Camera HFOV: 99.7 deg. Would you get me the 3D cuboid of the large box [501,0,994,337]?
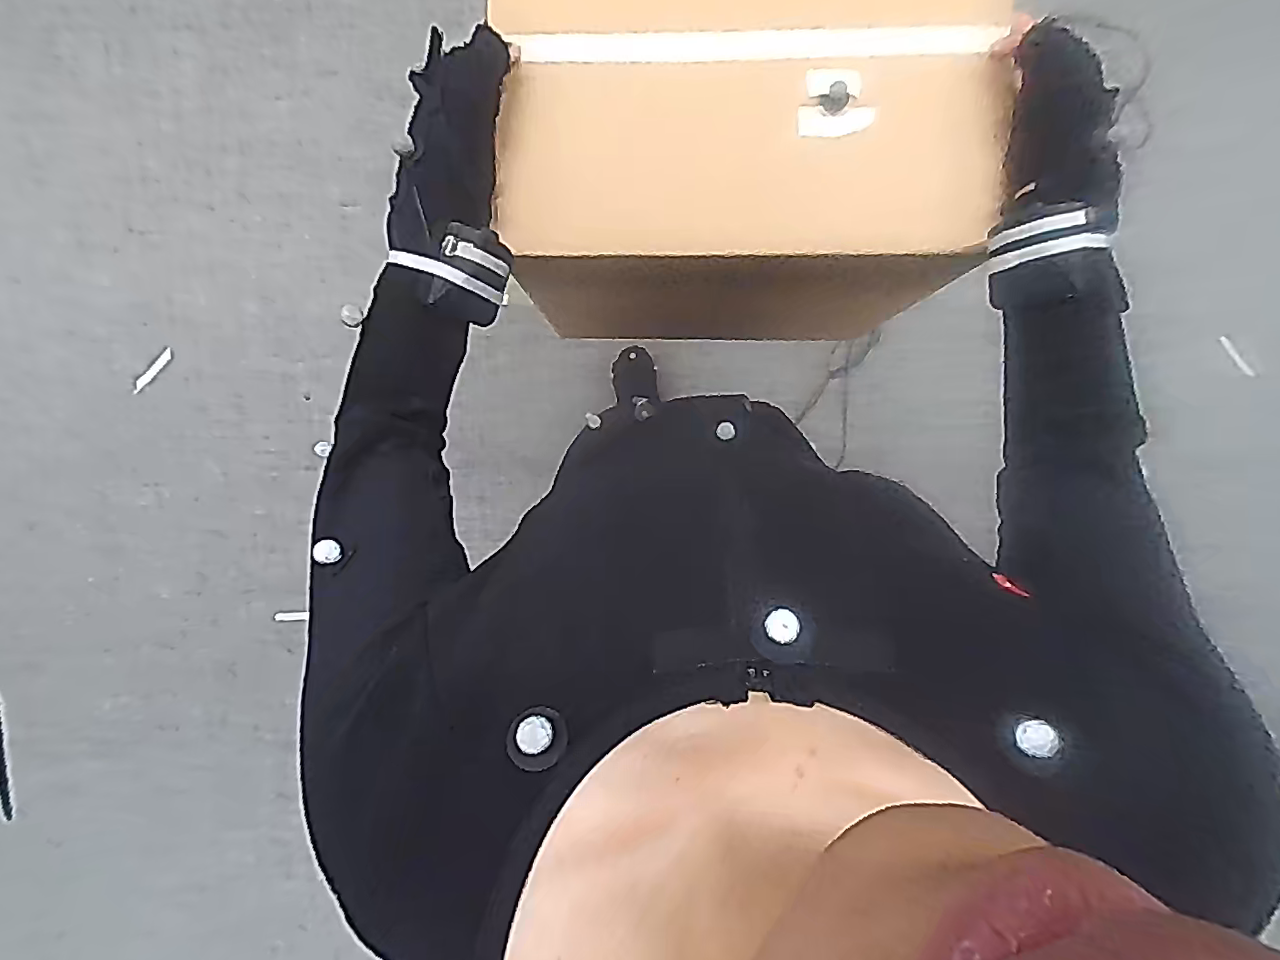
[{"bbox_3d":[0.086,-0.348,0.588,0.408,0.320,0.320,0,92,1],"label":"large box"}]
